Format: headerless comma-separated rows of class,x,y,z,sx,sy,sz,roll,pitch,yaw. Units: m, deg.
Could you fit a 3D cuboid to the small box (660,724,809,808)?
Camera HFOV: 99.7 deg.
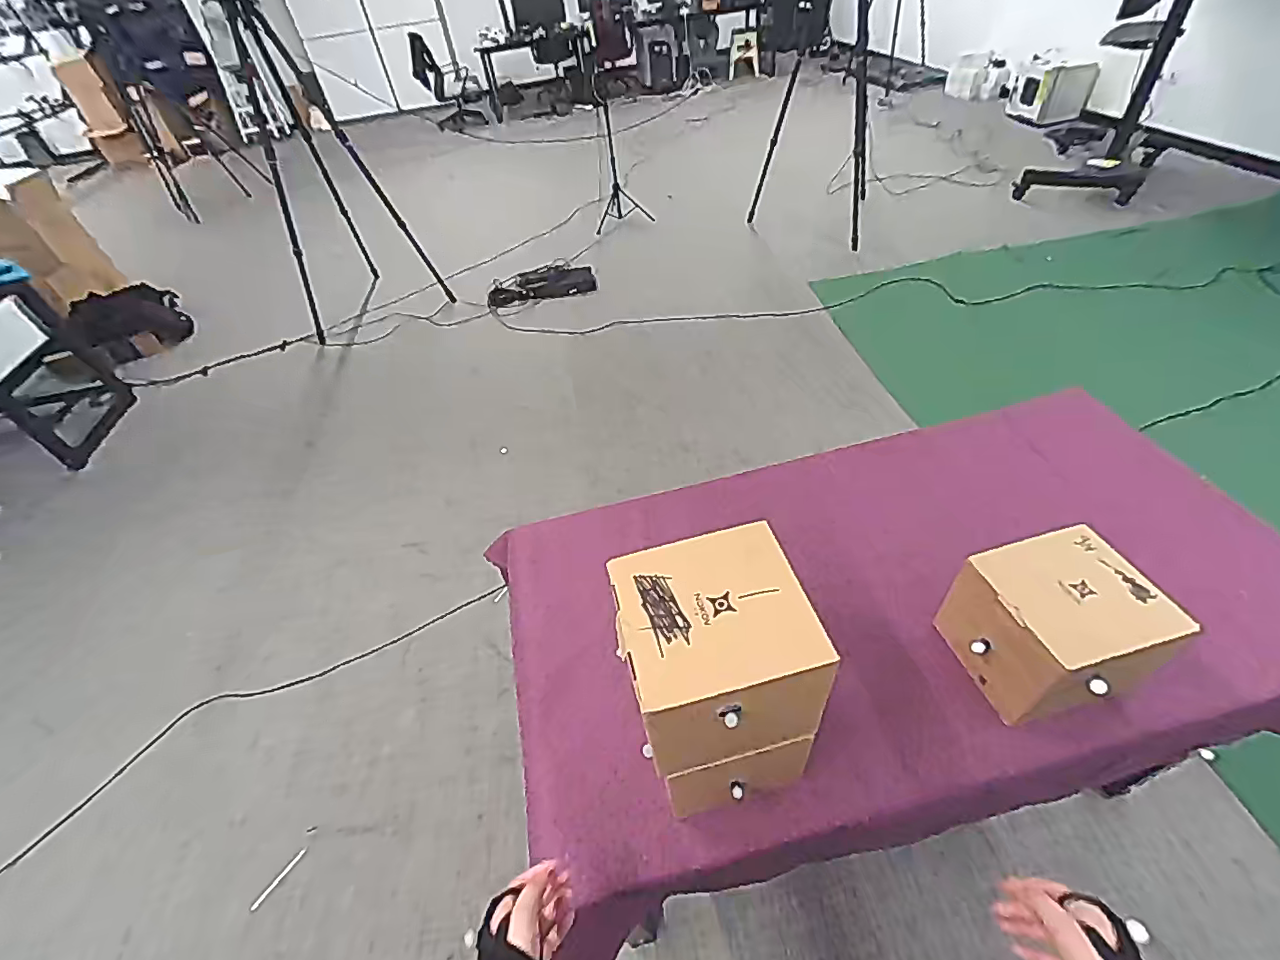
small box,0.095,0.288,0.680,0.168,0.176,0.179,-13,44,-4

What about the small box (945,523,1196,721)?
small box,0.531,0.188,0.706,0.179,0.176,0.168,-15,45,-4

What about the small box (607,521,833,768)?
small box,0.075,0.174,0.564,0.179,0.176,0.168,-14,45,-5
